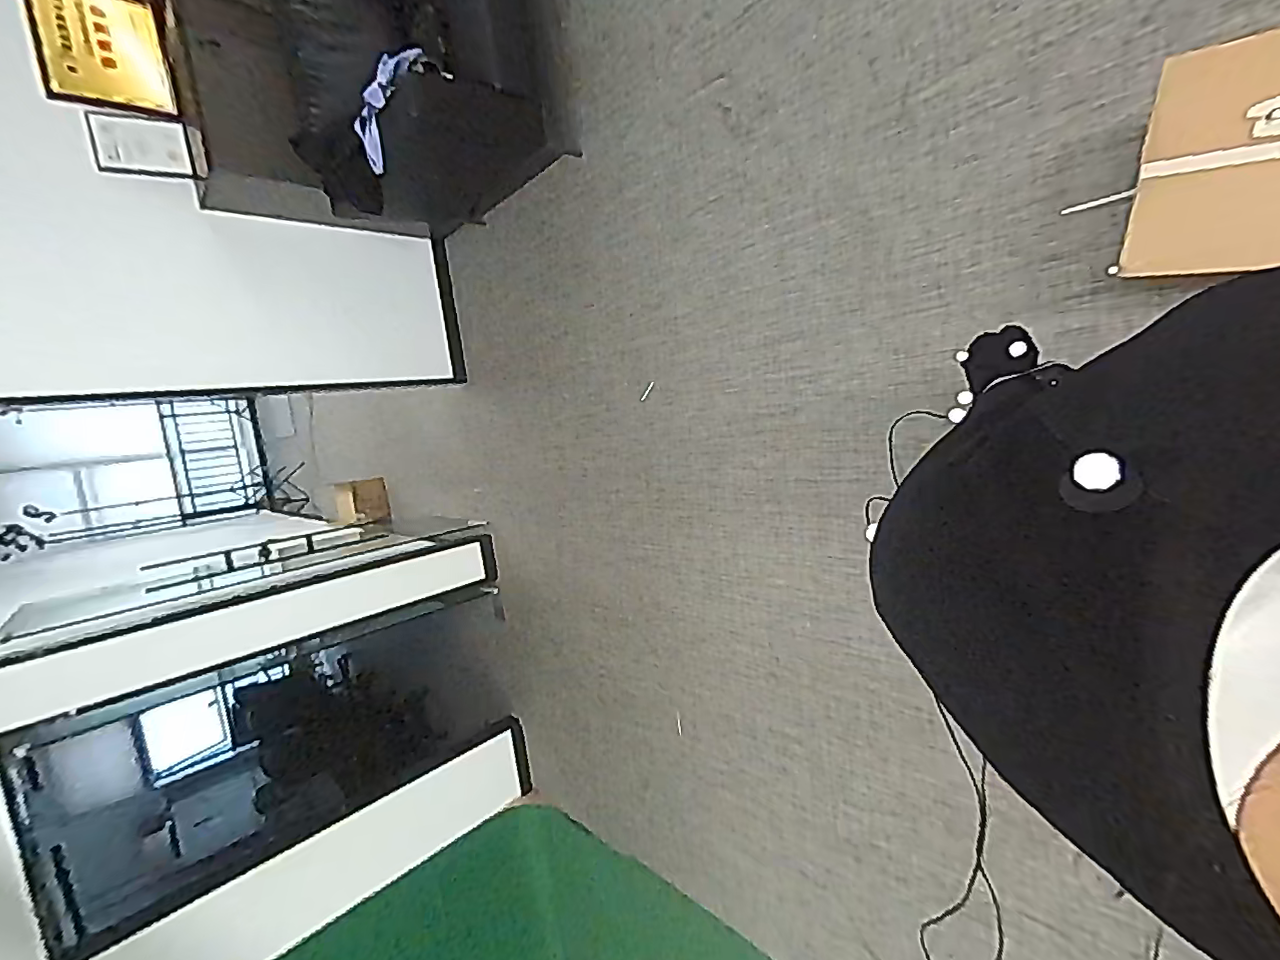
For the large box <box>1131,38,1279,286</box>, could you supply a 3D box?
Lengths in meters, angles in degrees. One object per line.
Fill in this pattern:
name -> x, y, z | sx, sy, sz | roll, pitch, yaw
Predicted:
large box -> 1.061, -0.475, 0.817 | 0.408, 0.320, 0.320 | 16, 111, 46
